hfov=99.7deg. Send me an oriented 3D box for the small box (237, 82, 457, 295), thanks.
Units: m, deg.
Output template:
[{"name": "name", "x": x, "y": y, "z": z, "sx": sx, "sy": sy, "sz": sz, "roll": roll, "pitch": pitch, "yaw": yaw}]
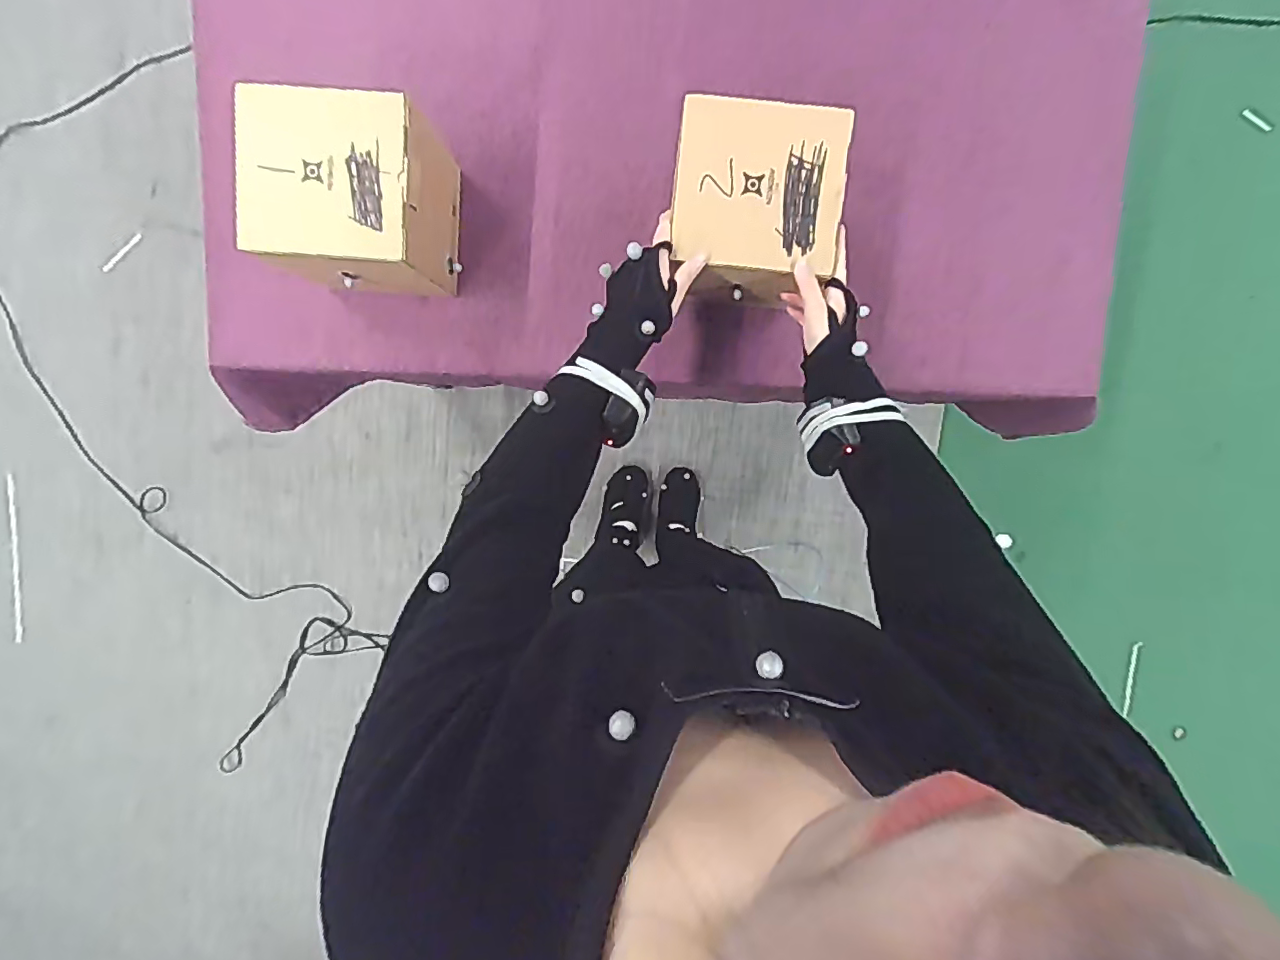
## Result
[{"name": "small box", "x": -0.326, "y": -0.322, "z": 0.634, "sx": 0.179, "sy": 0.176, "sz": 0.168, "roll": 4, "pitch": 95, "yaw": 0}]
